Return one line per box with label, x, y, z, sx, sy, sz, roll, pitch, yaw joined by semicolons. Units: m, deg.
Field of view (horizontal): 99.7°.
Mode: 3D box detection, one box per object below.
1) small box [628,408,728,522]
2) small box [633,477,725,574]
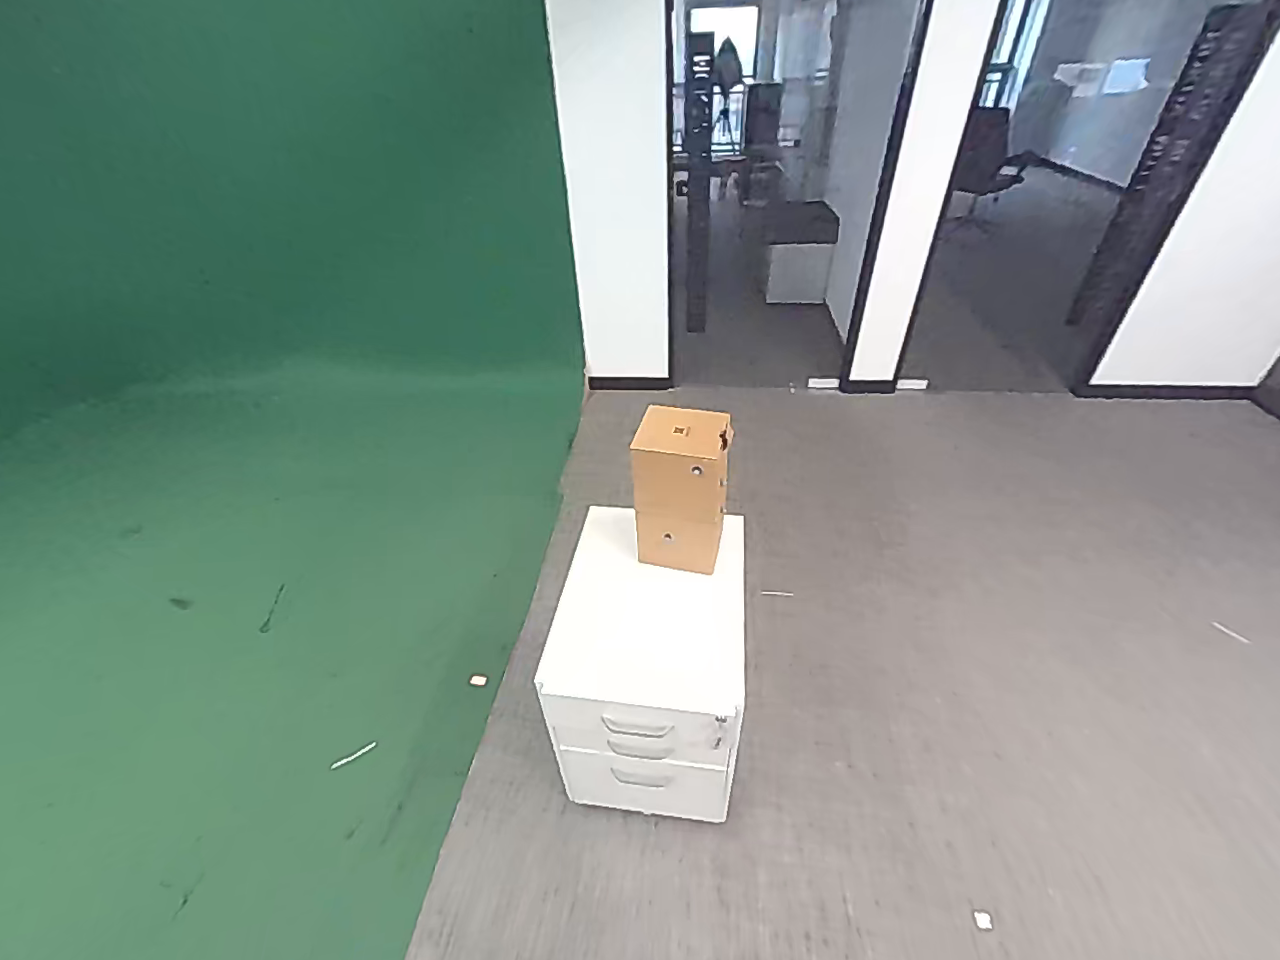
small box;0.082;-0.032;1.136;0.179;0.176;0.168;8;40;12
small box;0.093;0.094;1.240;0.179;0.176;0.168;8;40;13
